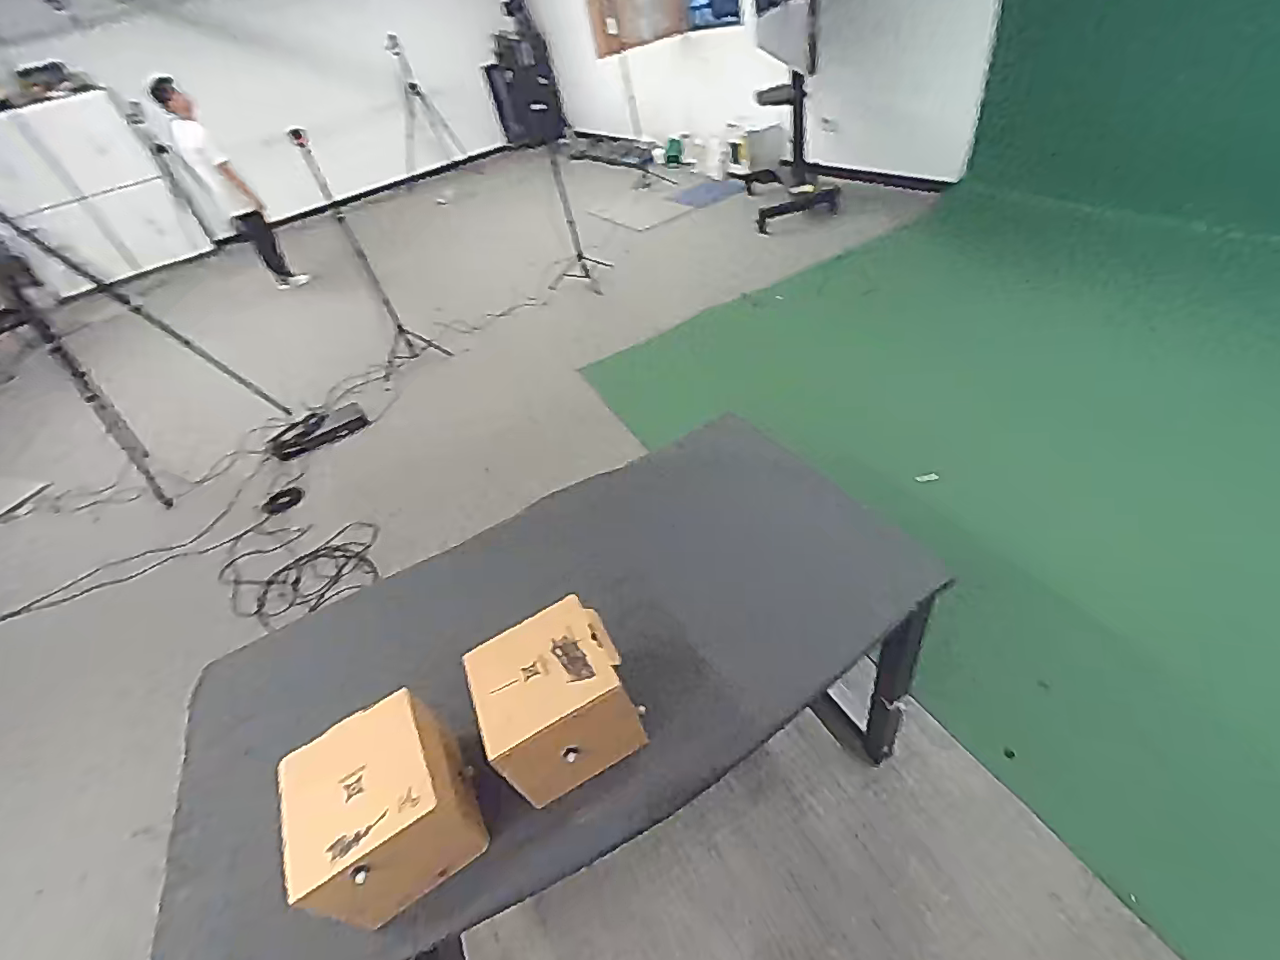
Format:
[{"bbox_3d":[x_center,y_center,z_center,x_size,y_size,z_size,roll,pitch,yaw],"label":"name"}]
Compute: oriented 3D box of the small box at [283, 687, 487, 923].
[{"bbox_3d":[-0.321,0.413,0.691,0.168,0.176,0.179,-30,43,-15],"label":"small box"}]
